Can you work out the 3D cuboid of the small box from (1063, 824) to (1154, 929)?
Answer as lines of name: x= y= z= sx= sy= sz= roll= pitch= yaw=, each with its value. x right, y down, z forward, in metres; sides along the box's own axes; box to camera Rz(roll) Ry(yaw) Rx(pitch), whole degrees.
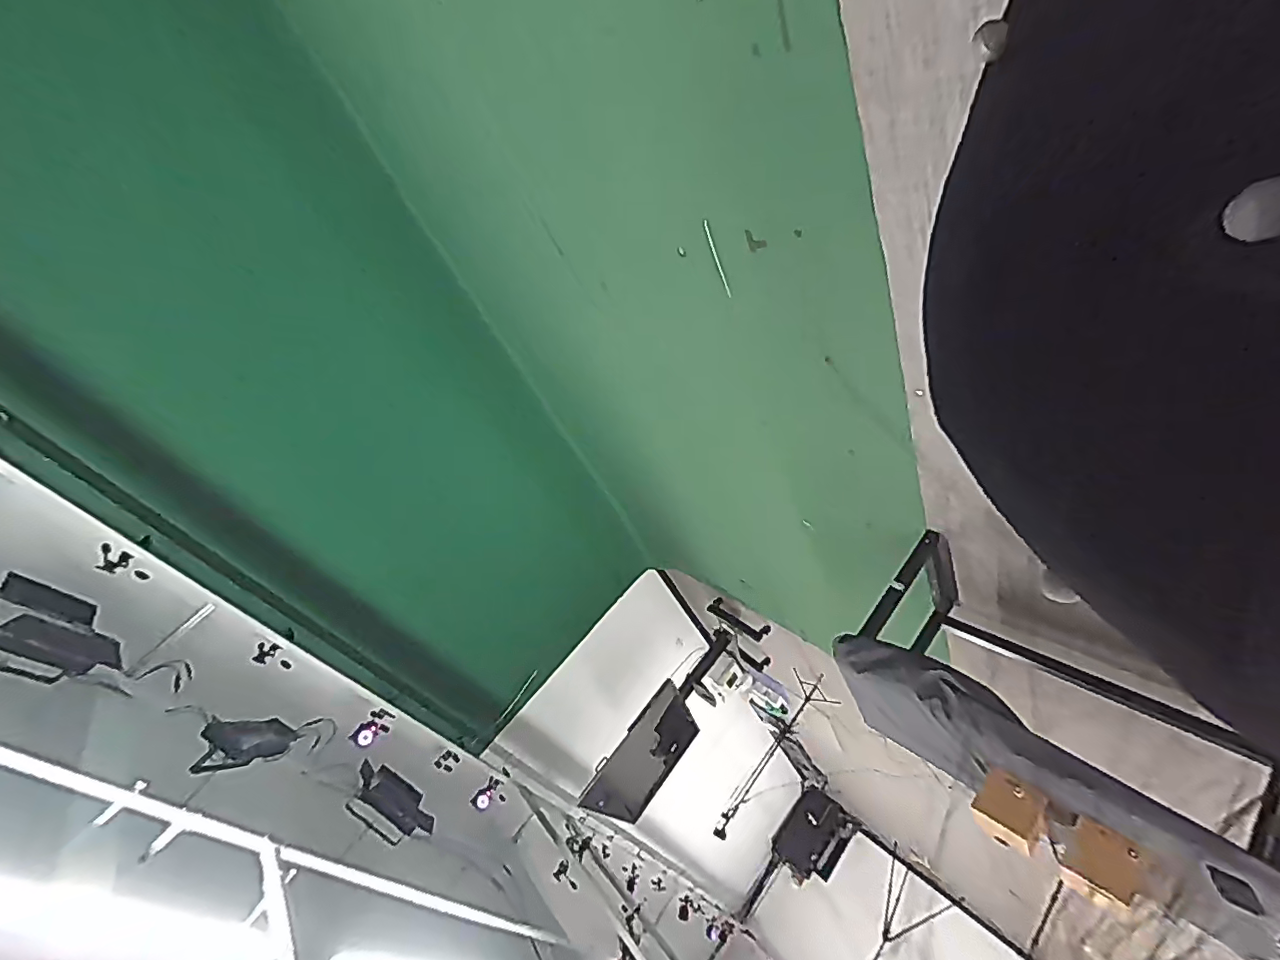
small box: x=1.375 y=1.158 z=1.590 sx=0.168 sy=0.176 sz=0.179 roll=20 pitch=150 yaw=49

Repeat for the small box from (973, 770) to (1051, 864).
small box: x=1.226 y=1.102 z=1.777 sx=0.168 sy=0.176 sz=0.179 roll=17 pitch=146 yaw=50
